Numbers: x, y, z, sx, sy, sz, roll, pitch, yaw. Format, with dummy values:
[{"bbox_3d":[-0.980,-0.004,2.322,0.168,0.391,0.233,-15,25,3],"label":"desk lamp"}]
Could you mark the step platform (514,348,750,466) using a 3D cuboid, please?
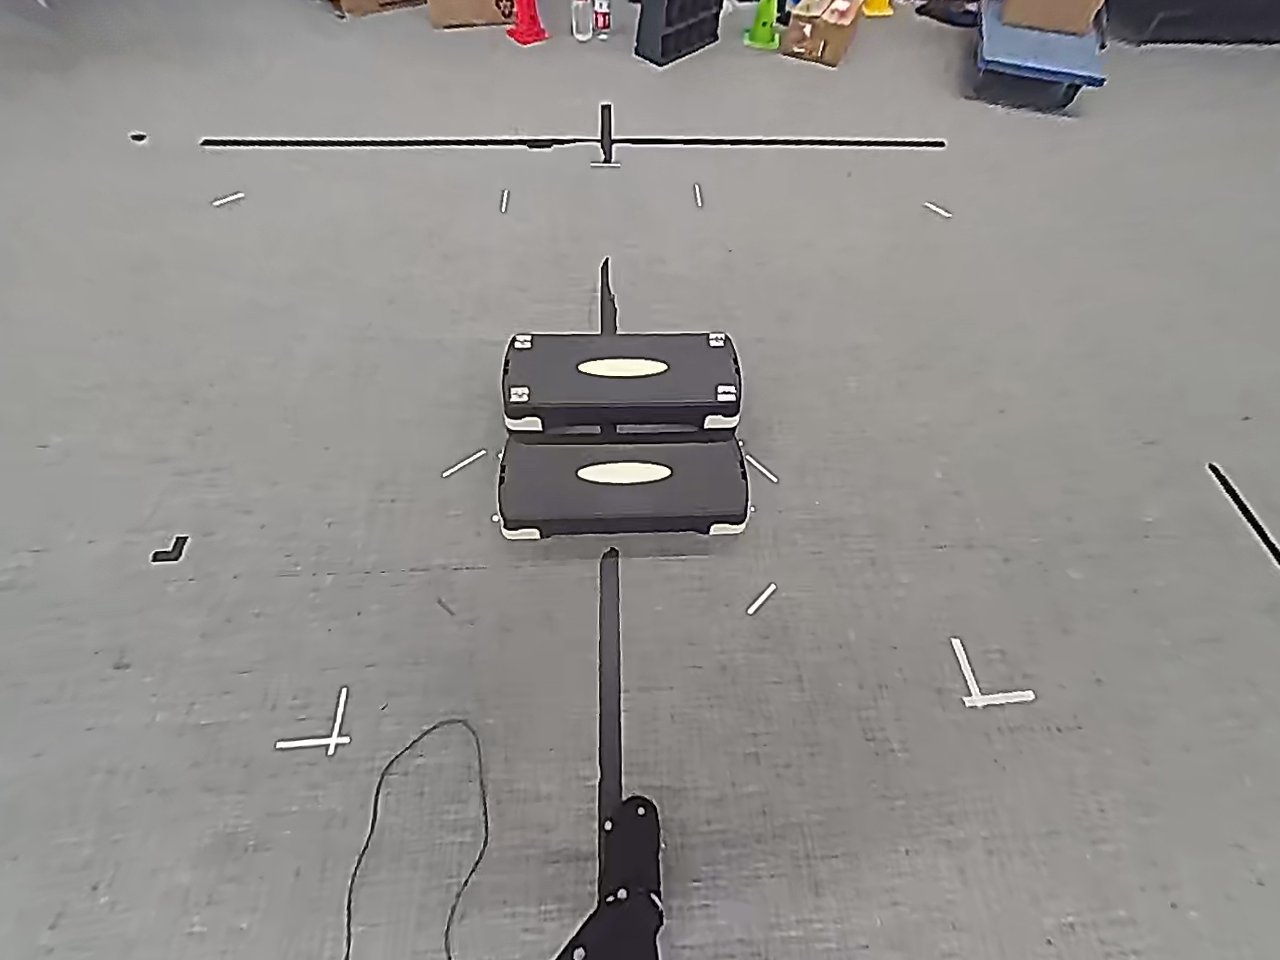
[{"bbox_3d":[-0.023,-0.220,1.603,0.684,0.204,0.286,3,57,-1],"label":"step platform"}]
